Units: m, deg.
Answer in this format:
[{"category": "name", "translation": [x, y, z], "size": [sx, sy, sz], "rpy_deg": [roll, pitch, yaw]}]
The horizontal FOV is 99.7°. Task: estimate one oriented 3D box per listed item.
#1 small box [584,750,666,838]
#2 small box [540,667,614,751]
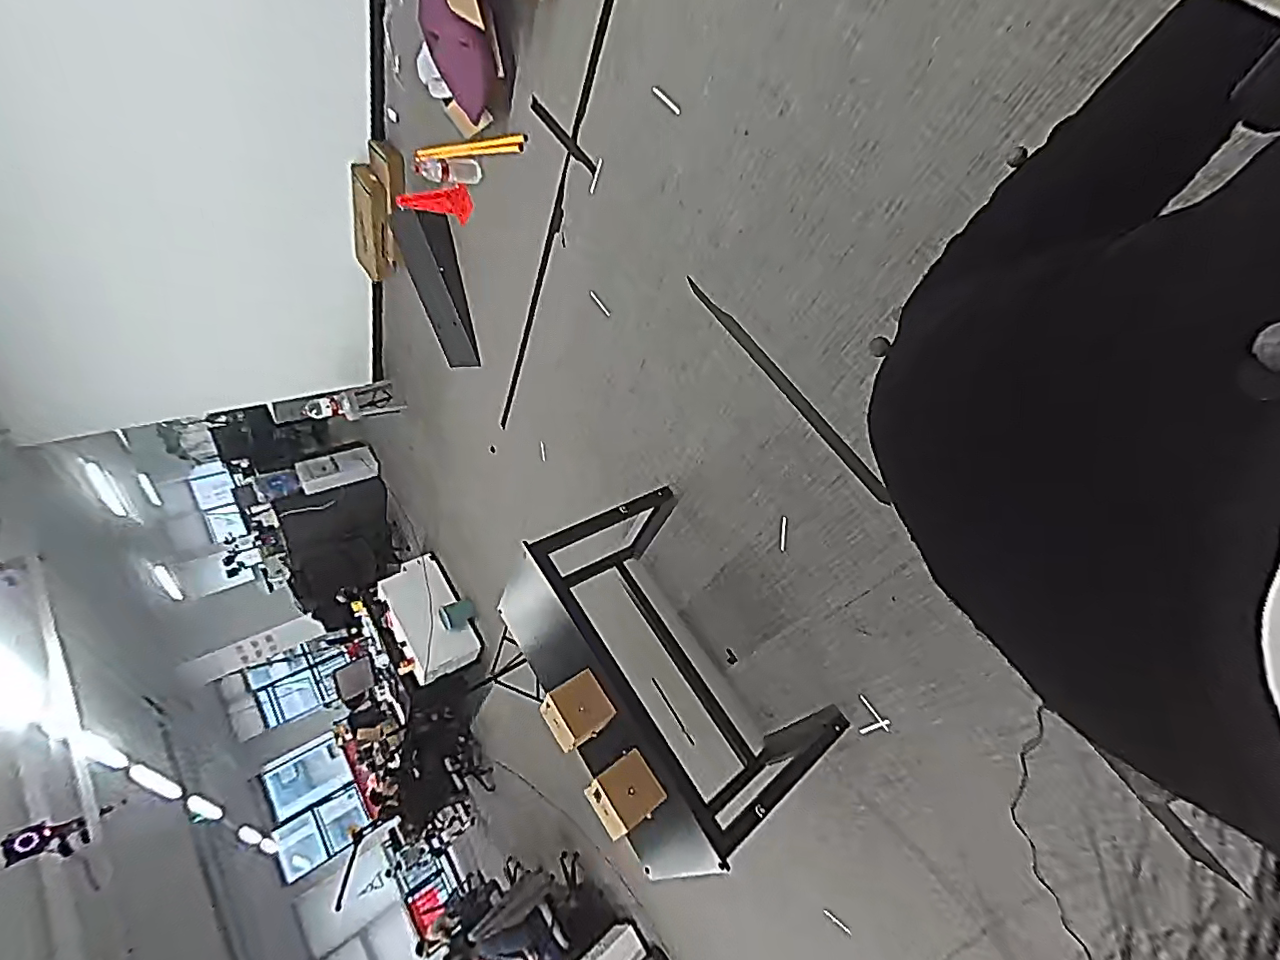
[{"category": "small box", "translation": [-0.049, 1.002, 1.741], "size": [0.179, 0.176, 0.168], "rpy_deg": [50, 140, 22]}, {"category": "small box", "translation": [-0.213, 0.775, 1.837], "size": [0.179, 0.176, 0.168], "rpy_deg": [50, 140, 22]}]
